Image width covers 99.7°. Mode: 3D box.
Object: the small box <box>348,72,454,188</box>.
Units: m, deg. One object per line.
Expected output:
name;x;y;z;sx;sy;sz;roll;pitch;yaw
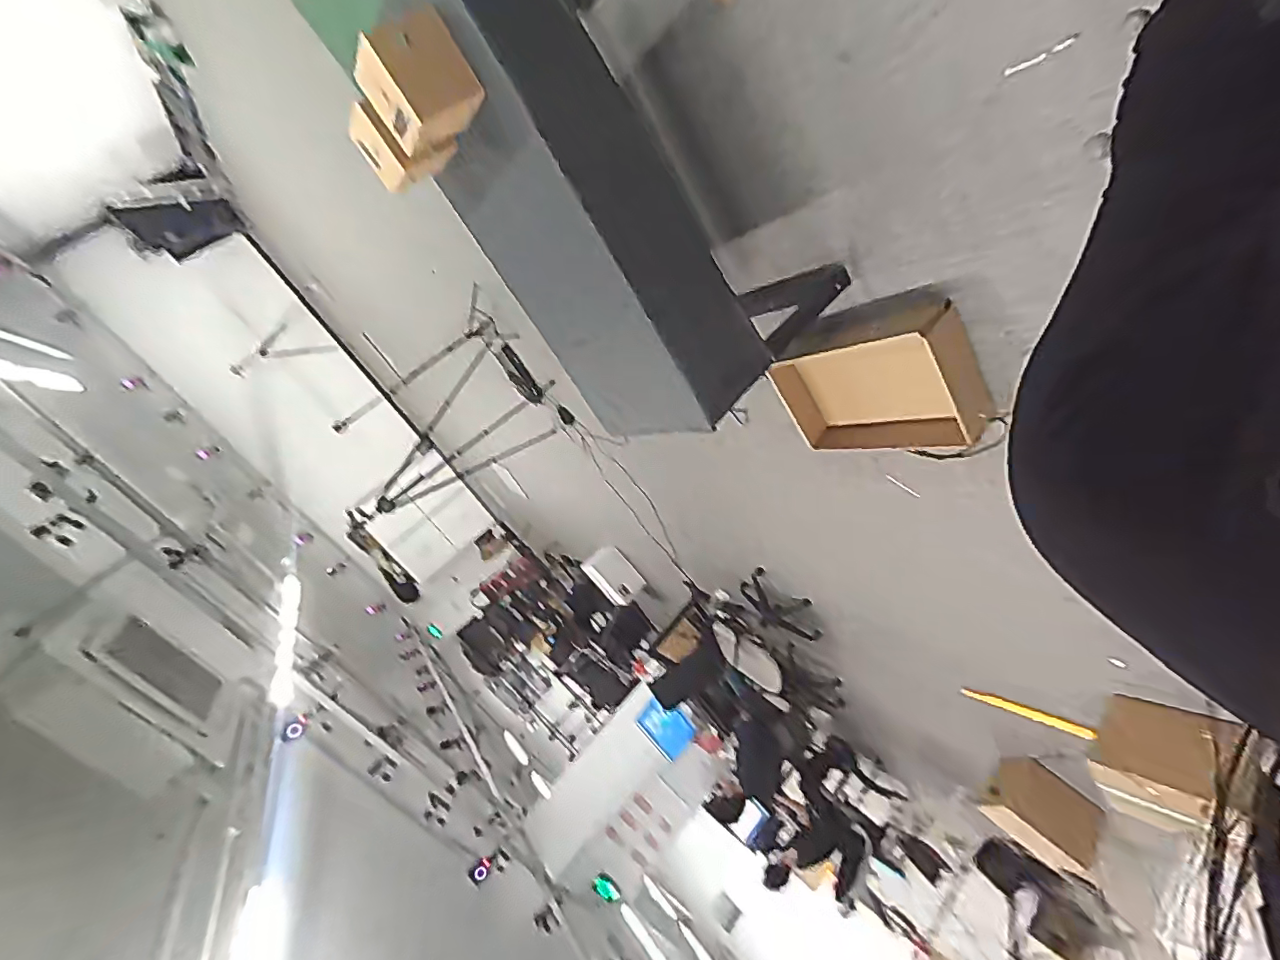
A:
small box;-0.597;-0.874;1.358;0.179;0.176;0.168;11;140;55
